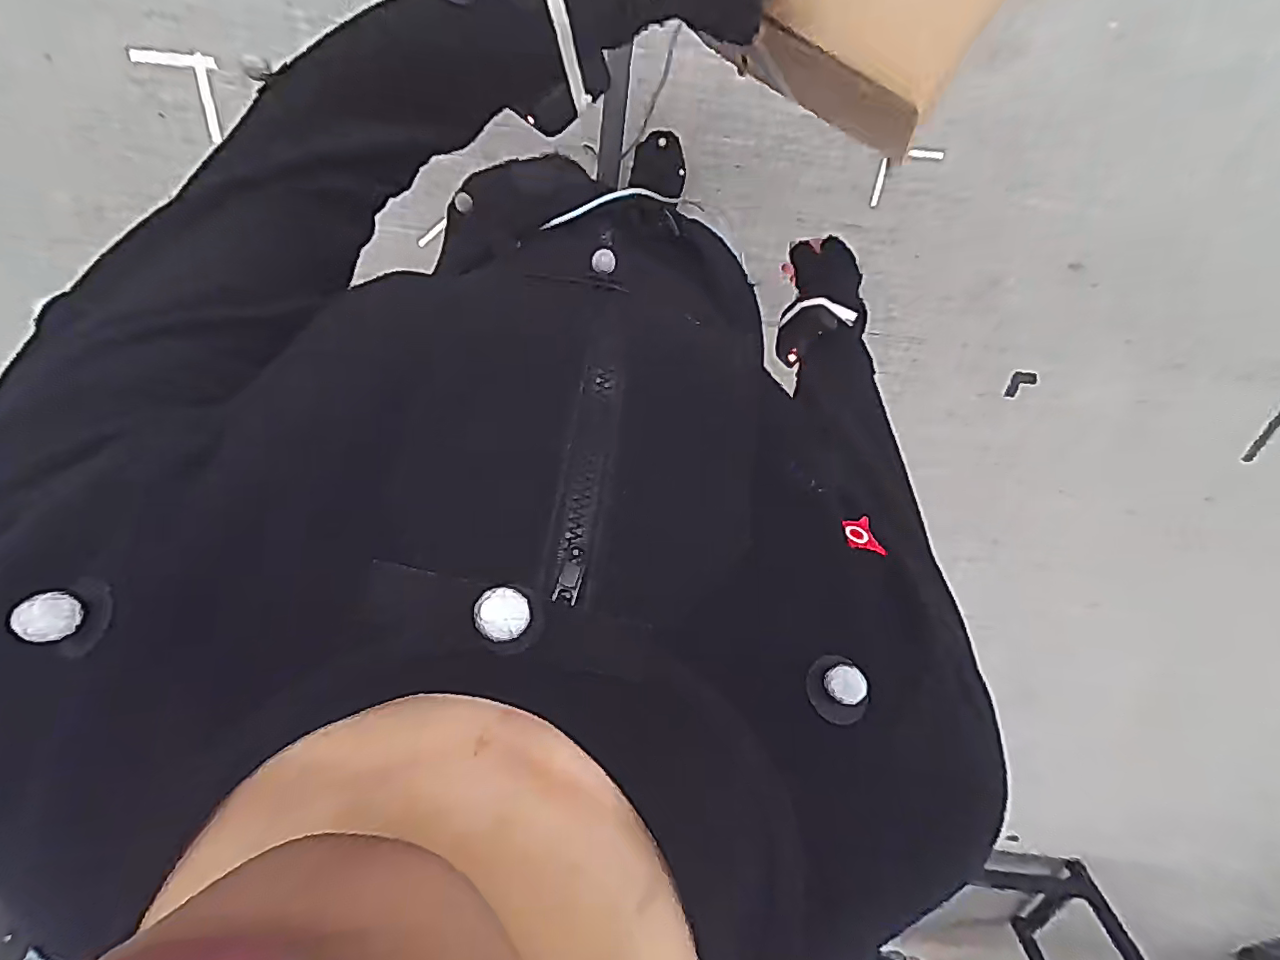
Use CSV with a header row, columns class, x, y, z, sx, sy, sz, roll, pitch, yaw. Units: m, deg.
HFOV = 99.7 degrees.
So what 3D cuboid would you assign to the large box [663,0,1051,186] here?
class,x,y,z,sx,sy,sz,roll,pitch,yaw
large box,0.222,-0.499,0.465,0.320,0.408,0.320,39,124,3
